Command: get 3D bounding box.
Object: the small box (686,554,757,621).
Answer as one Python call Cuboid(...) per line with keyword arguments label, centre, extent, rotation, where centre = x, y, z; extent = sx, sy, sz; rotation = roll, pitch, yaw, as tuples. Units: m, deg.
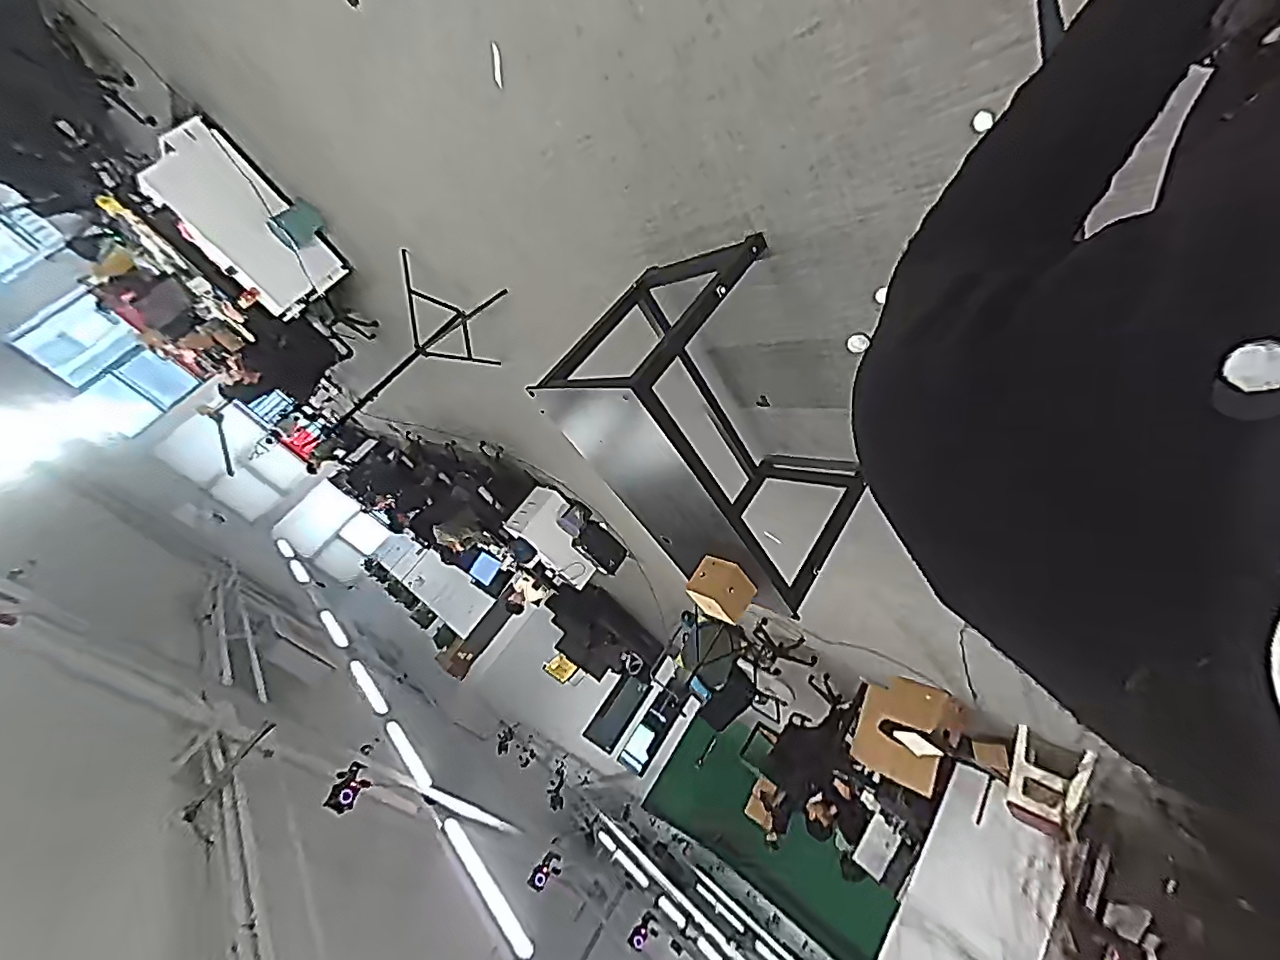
Cuboid(label="small box", centre=(0.314, 0.406, 2.075), extent=(0.168, 0.176, 0.179), rotation=(10, 147, 53))
